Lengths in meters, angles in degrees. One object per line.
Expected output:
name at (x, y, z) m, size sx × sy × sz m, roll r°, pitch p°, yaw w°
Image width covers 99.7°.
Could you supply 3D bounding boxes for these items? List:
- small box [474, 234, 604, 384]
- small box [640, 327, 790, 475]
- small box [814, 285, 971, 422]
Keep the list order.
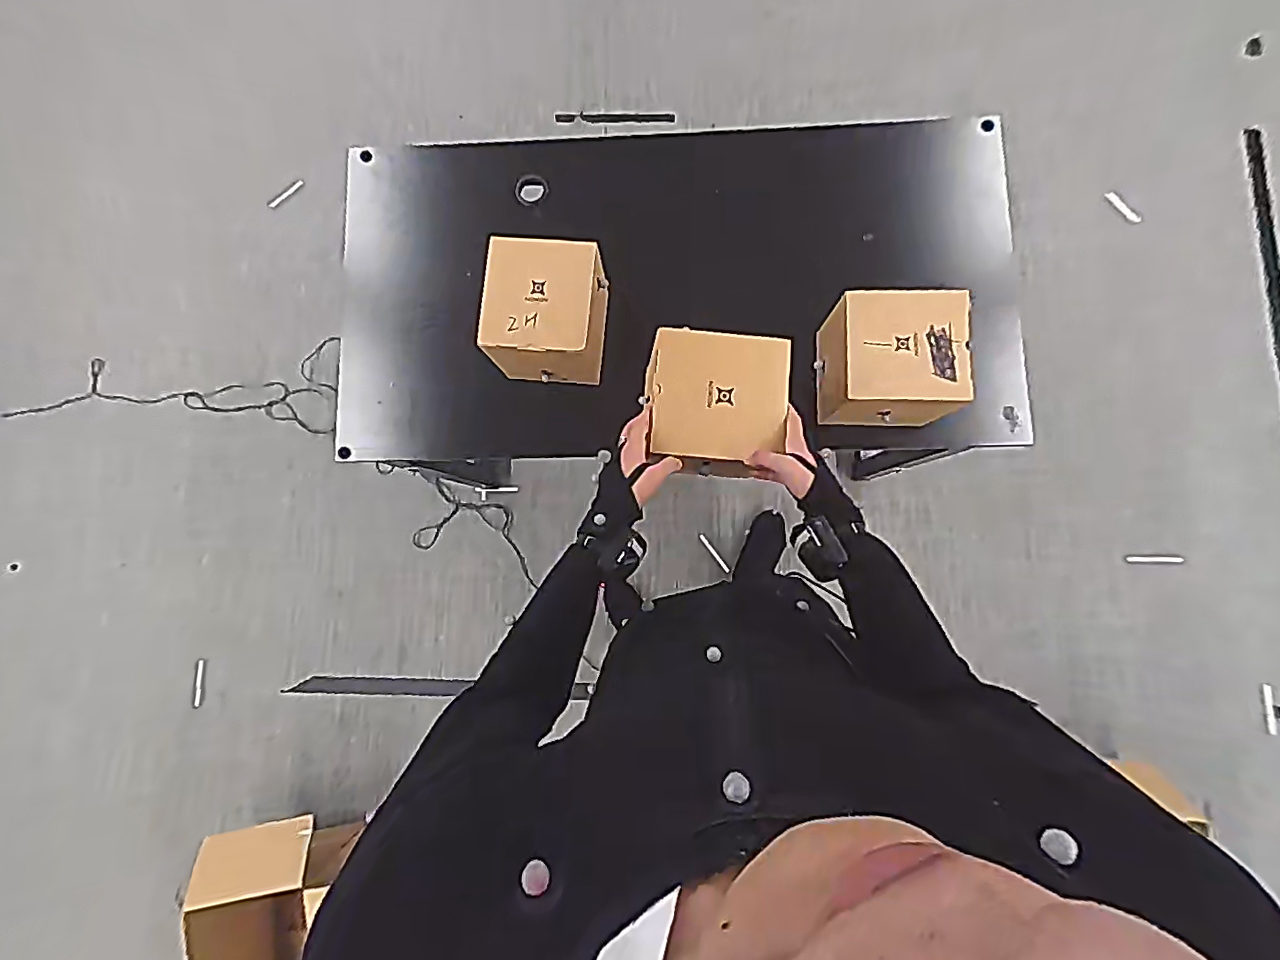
small box at (-0.153, -0.271, 0.882) m, size 0.168 × 0.176 × 0.179 m, roll 5°, pitch 84°, yaw 4°
small box at (0.096, -0.099, 0.758) m, size 0.179 × 0.176 × 0.168 m, roll 4°, pitch 84°, yaw -2°
small box at (0.383, -0.189, 0.846) m, size 0.179 × 0.176 × 0.168 m, roll 1°, pitch 83°, yaw 4°
